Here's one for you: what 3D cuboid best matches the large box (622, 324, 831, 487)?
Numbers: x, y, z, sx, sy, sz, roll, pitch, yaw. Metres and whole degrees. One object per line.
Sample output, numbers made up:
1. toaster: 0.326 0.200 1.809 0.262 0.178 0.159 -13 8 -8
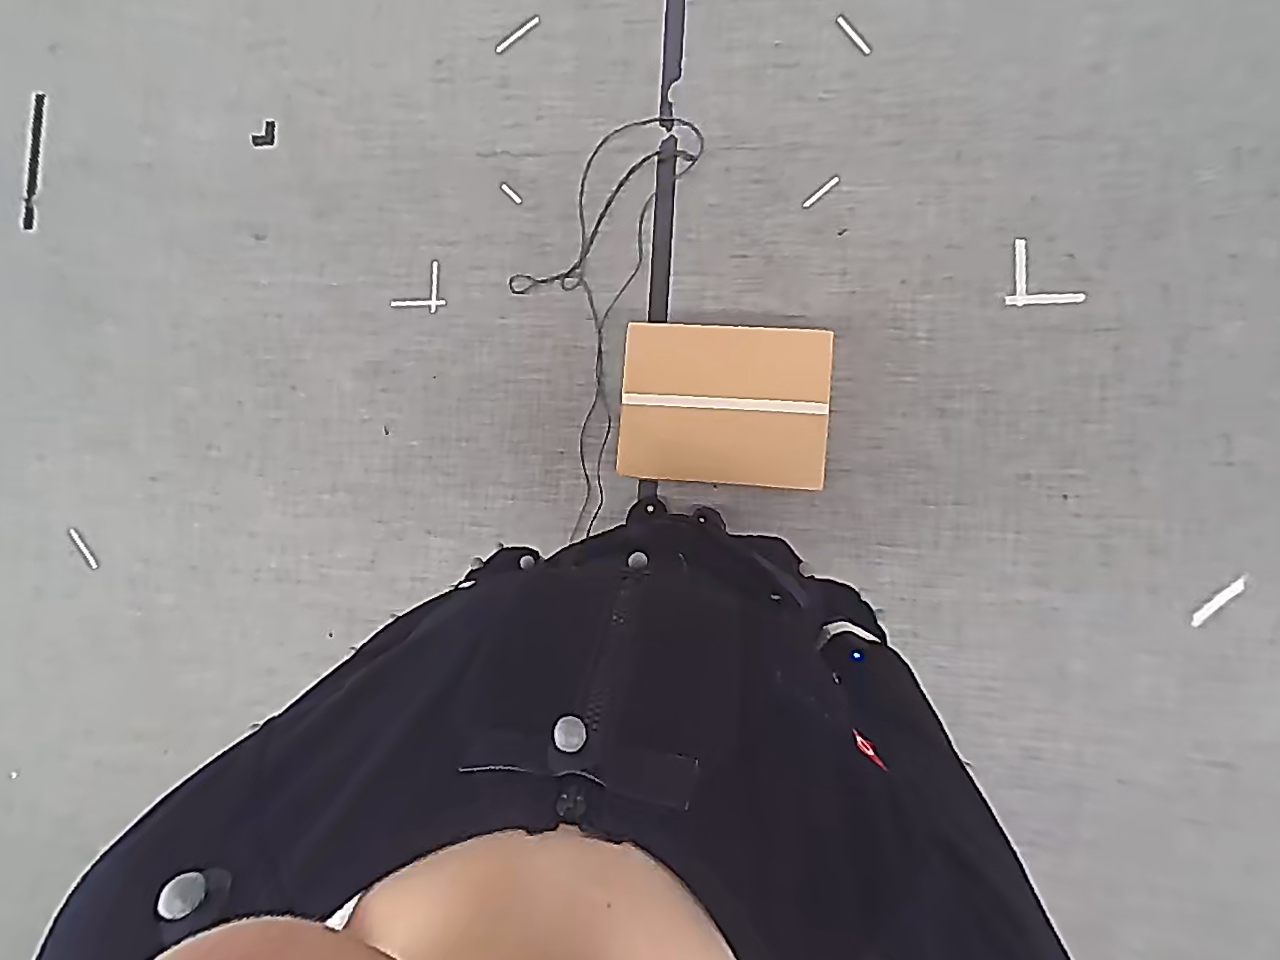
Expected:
1. large box: 0.182 -0.149 1.221 0.408 0.320 0.320 4 90 6
